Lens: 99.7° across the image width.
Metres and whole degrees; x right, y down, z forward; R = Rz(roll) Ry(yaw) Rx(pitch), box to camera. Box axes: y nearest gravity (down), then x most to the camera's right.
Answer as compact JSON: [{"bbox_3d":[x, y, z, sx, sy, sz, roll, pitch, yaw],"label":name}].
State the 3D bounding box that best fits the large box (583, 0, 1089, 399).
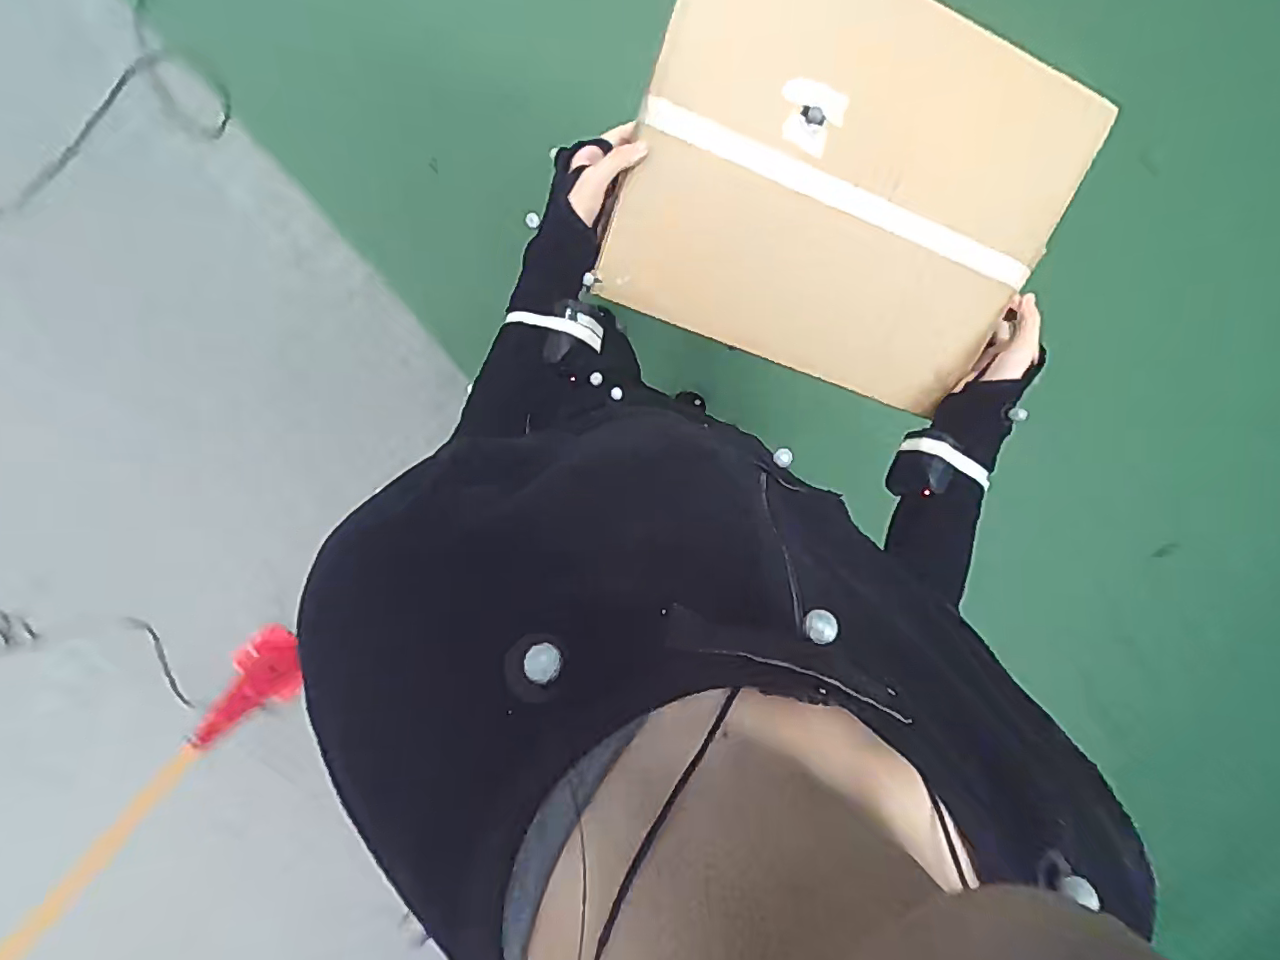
[{"bbox_3d":[0.169,-0.334,0.647,0.408,0.320,0.320,16,112,-11],"label":"large box"}]
